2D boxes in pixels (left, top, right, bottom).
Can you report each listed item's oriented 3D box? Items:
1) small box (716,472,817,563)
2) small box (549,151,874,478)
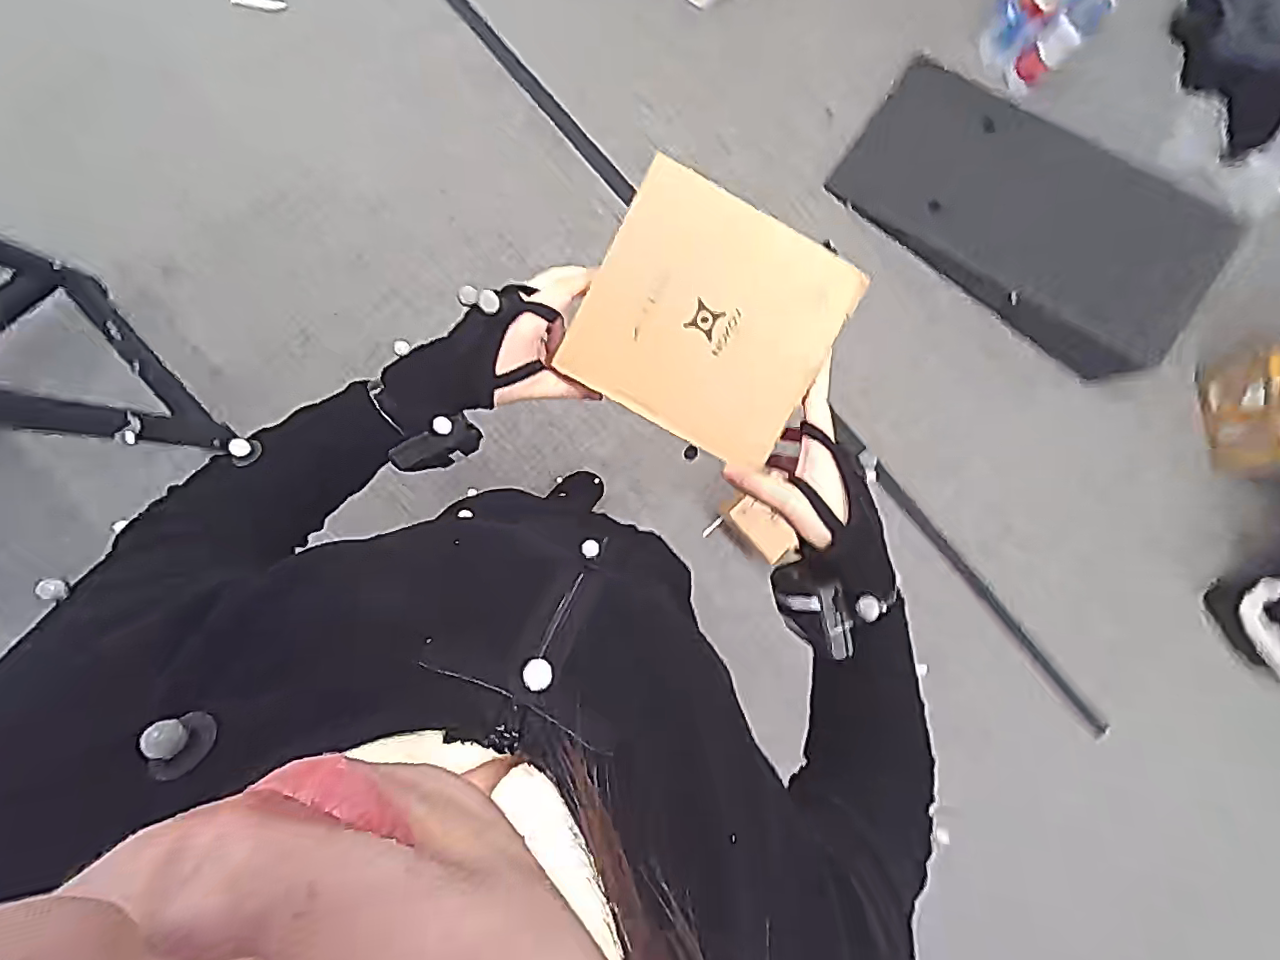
[{"bbox_3d":[0.329,0.091,1.440,0.168,0.176,0.179,-41,93,-3],"label":"small box"},{"bbox_3d":[0.050,-0.123,0.456,0.179,0.176,0.168,29,97,-3],"label":"small box"}]
